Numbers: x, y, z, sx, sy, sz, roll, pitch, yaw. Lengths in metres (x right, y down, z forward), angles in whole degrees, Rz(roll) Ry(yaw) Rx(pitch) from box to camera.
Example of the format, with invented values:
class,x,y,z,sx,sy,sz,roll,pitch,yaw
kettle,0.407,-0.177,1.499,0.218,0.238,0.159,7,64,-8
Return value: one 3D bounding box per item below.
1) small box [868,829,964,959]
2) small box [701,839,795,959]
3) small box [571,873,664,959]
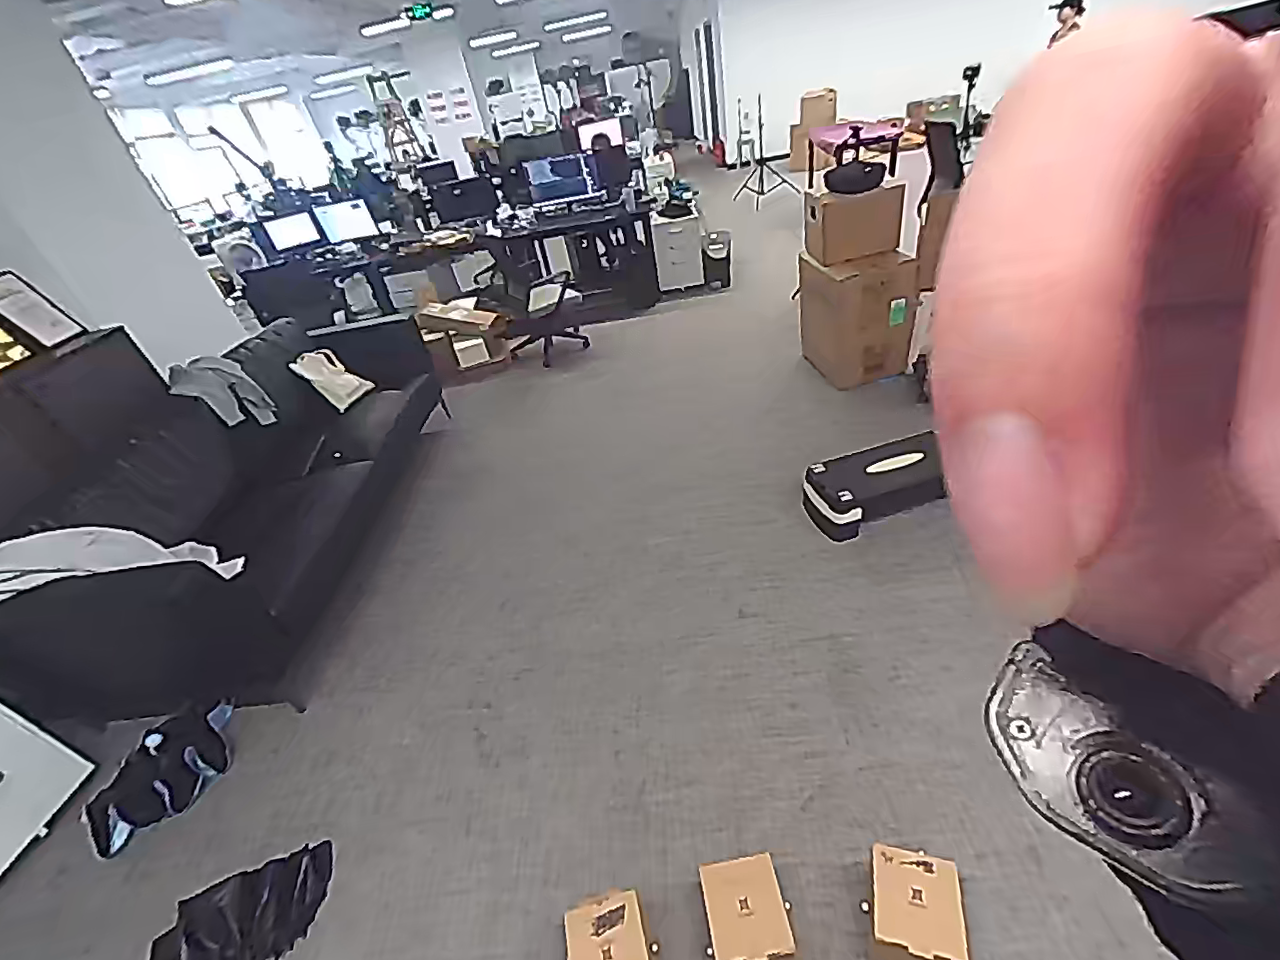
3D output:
class,x,y,z,sx,sy,sz,roll,pitch,yaw
small box,0.585,0.898,1.162,0.168,0.176,0.179,3,40,21
small box,0.241,0.946,1.209,0.168,0.176,0.179,-12,36,0
small box,-0.046,1.020,1.194,0.168,0.176,0.179,-17,38,-4
